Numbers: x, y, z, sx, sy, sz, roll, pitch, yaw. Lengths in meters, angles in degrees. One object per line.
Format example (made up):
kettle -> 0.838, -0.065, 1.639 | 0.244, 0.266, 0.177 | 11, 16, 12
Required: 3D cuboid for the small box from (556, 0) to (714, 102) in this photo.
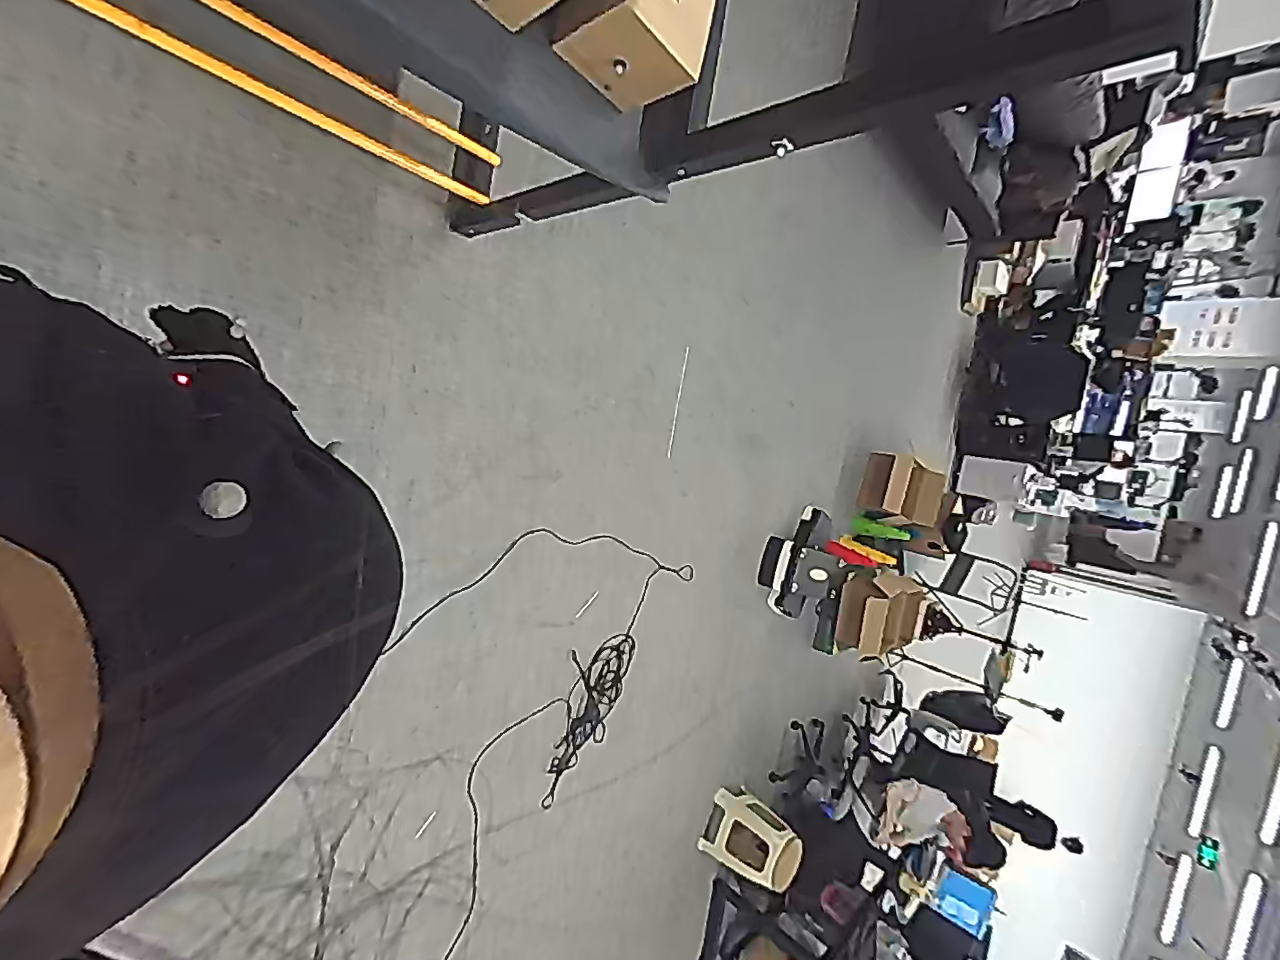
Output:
small box -> -0.007, -0.729, 0.828 | 0.168, 0.176, 0.179 | 11, 92, -48
